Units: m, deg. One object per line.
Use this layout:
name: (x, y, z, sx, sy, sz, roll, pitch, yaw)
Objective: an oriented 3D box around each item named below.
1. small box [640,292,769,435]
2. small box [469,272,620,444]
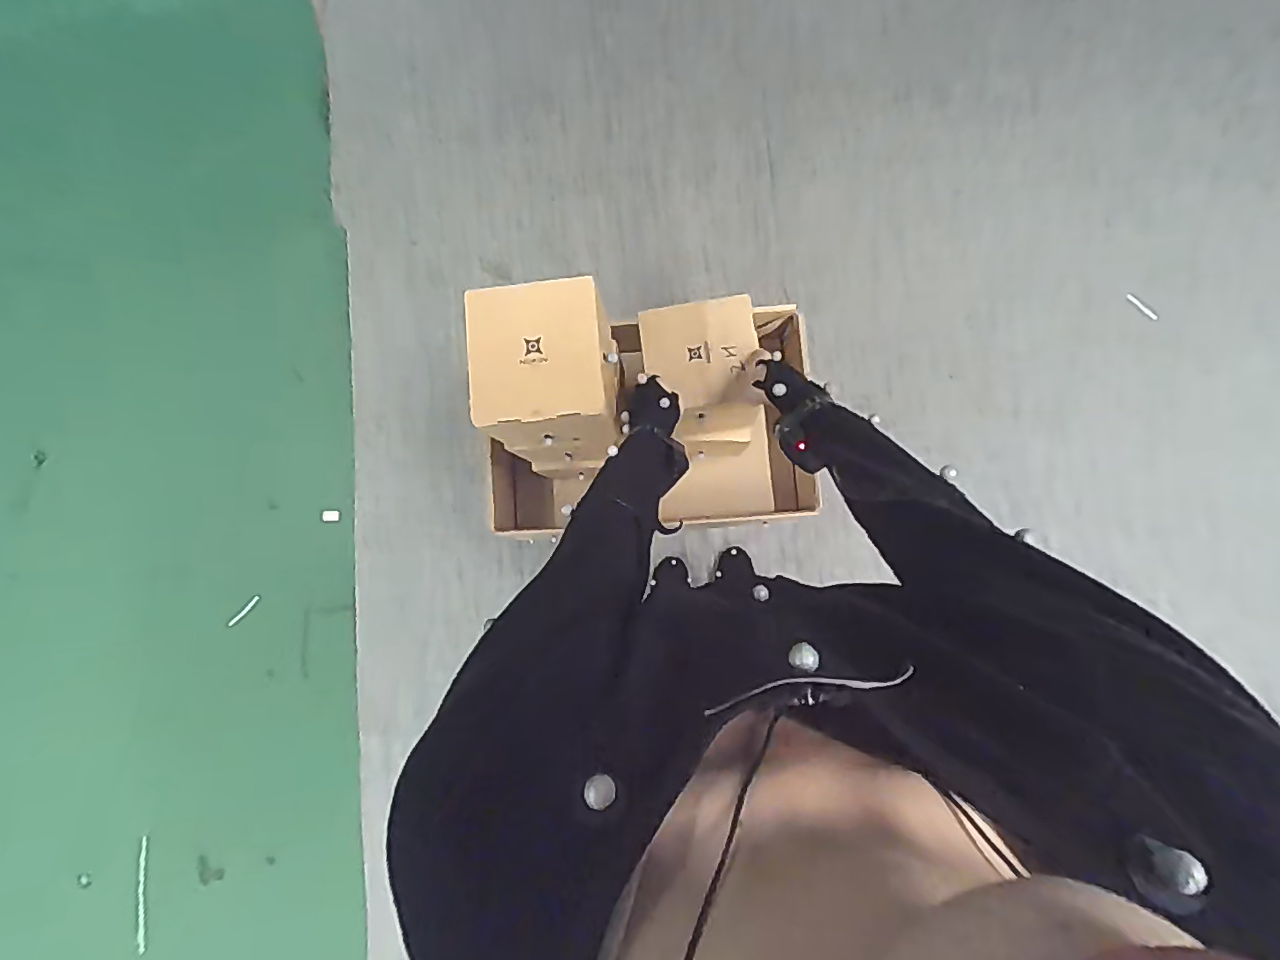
small box: (0.102, -0.178, 0.876, 0.179, 0.176, 0.168, -7, 80, 4)
small box: (-0.121, -0.155, 0.737, 0.168, 0.176, 0.179, -6, 84, 3)
